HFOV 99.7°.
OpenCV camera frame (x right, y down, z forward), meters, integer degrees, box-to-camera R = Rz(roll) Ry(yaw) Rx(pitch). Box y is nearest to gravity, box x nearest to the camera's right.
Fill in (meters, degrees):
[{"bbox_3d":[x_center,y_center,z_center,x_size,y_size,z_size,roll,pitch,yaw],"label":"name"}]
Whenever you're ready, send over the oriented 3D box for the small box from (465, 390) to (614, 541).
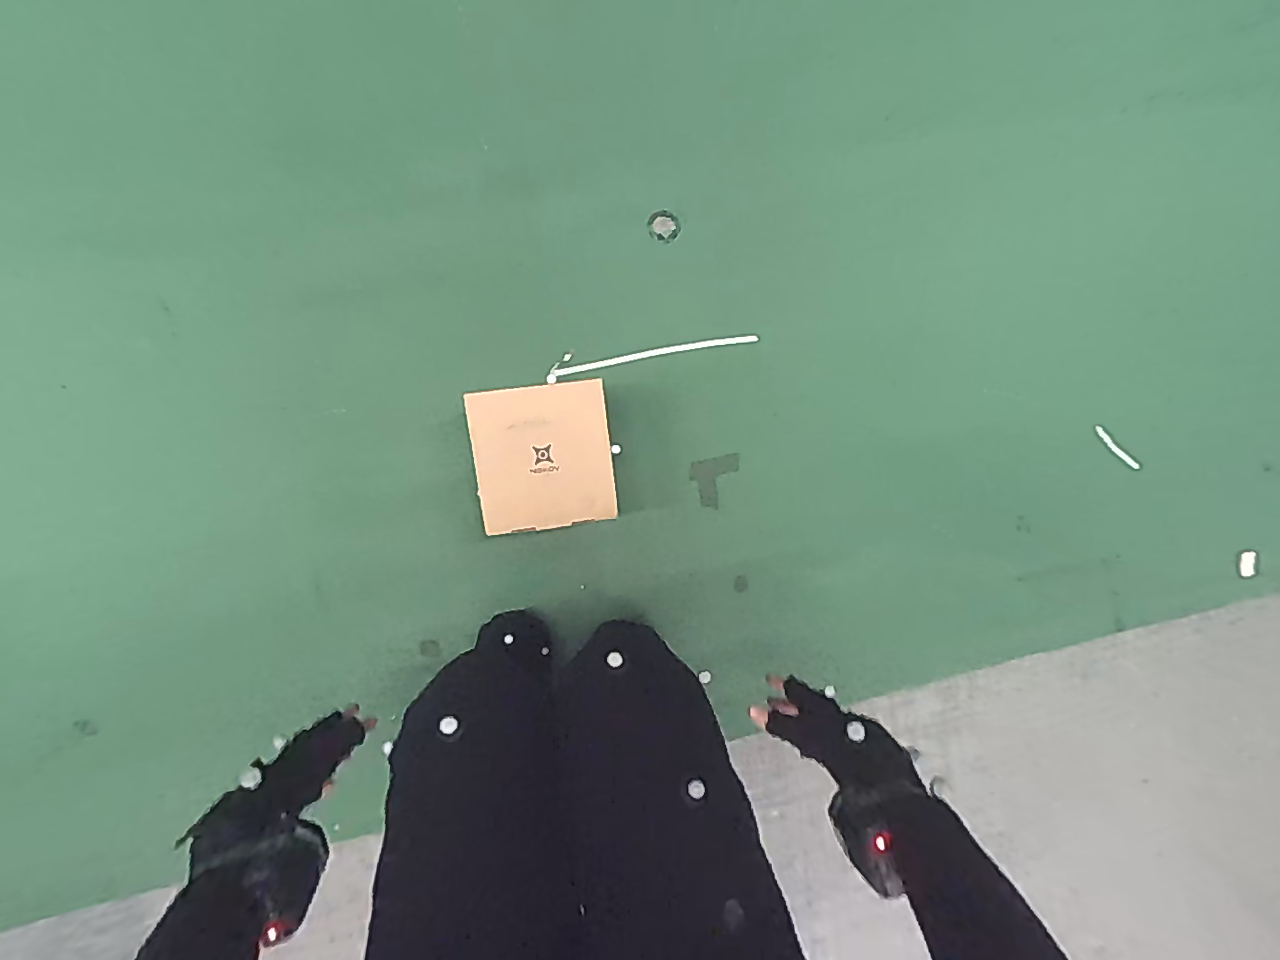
[{"bbox_3d":[-0.129,-0.029,0.743,0.168,0.176,0.179,-8,99,-7],"label":"small box"}]
